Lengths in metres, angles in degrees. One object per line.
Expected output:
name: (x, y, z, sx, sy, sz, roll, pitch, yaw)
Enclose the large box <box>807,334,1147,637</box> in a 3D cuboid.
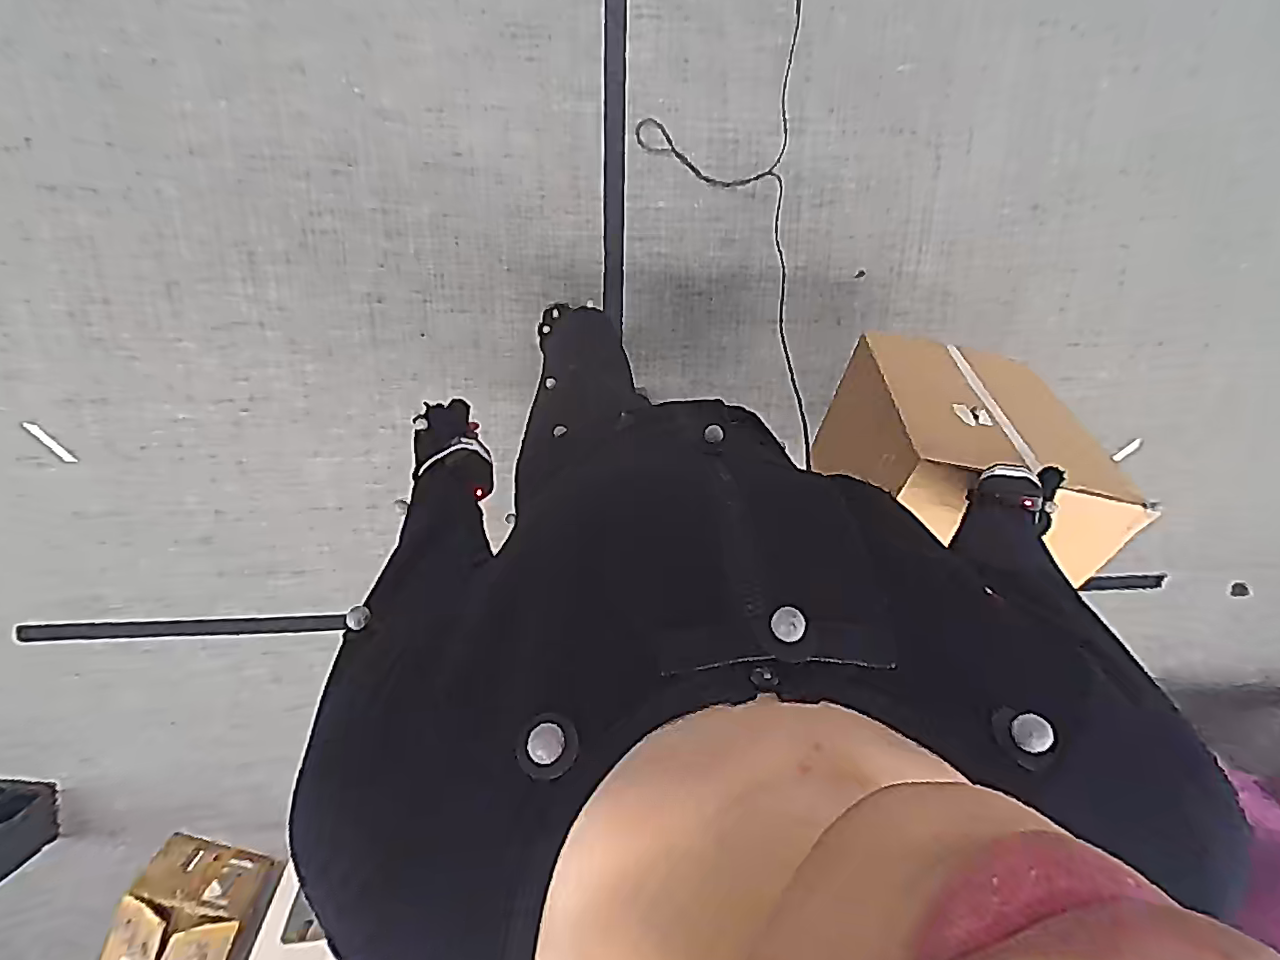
large box: (0.513, -0.003, 0.948, 0.320, 0.408, 0.320, 11, 131, 0)
